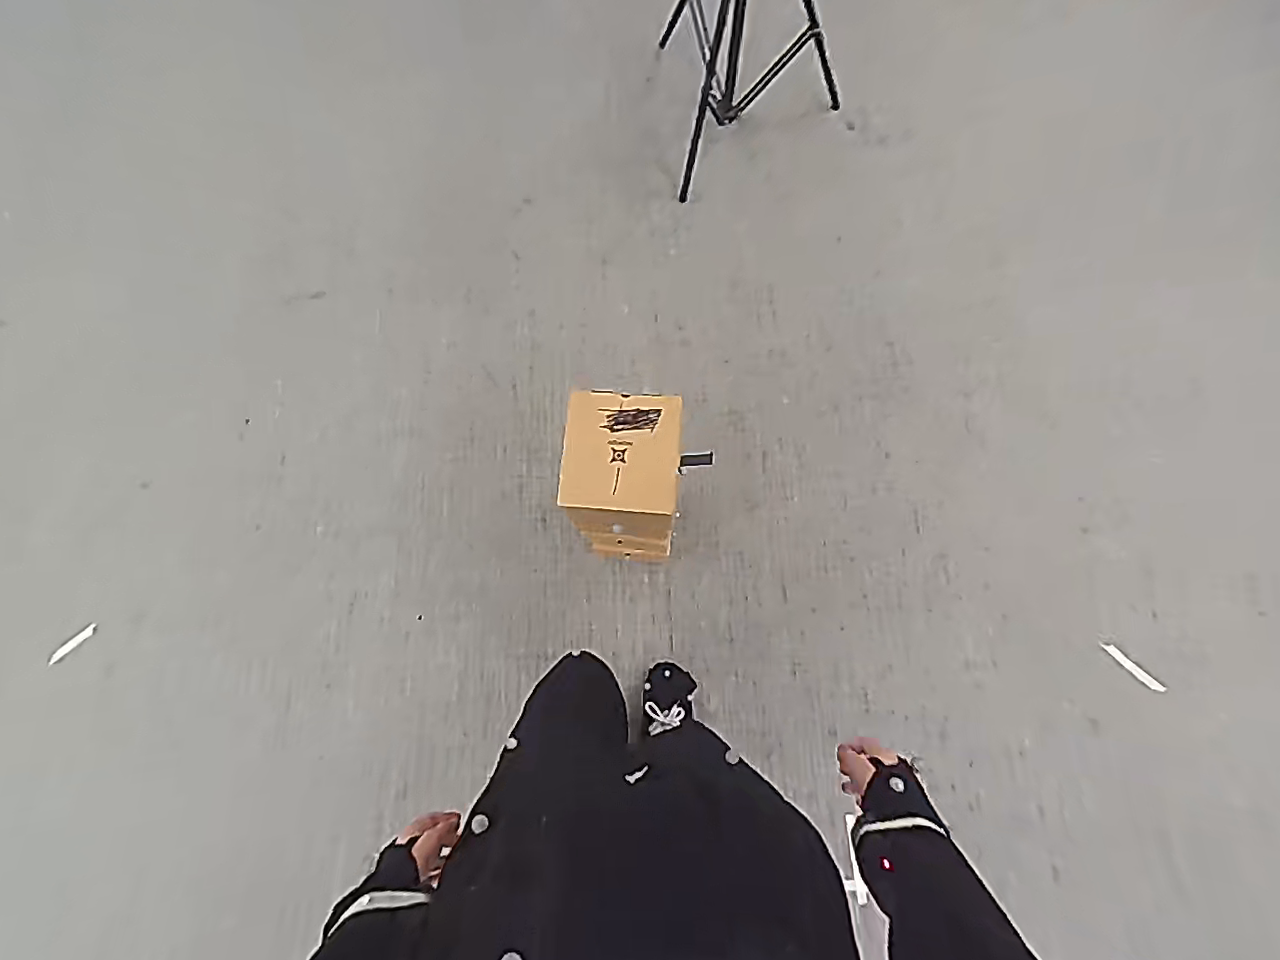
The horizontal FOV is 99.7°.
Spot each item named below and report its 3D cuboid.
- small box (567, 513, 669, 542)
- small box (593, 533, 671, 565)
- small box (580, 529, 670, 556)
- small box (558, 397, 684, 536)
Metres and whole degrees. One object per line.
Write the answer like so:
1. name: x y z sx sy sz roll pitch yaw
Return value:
1. small box: -0.026 0.021 1.010 0.179 0.176 0.168 5 77 4
2. small box: -0.011 0.115 1.322 0.179 0.176 0.168 5 77 4
3. small box: -0.019 0.068 1.165 0.179 0.176 0.168 8 77 5
4. small box: -0.022 -0.014 0.849 0.168 0.176 0.179 5 78 5
